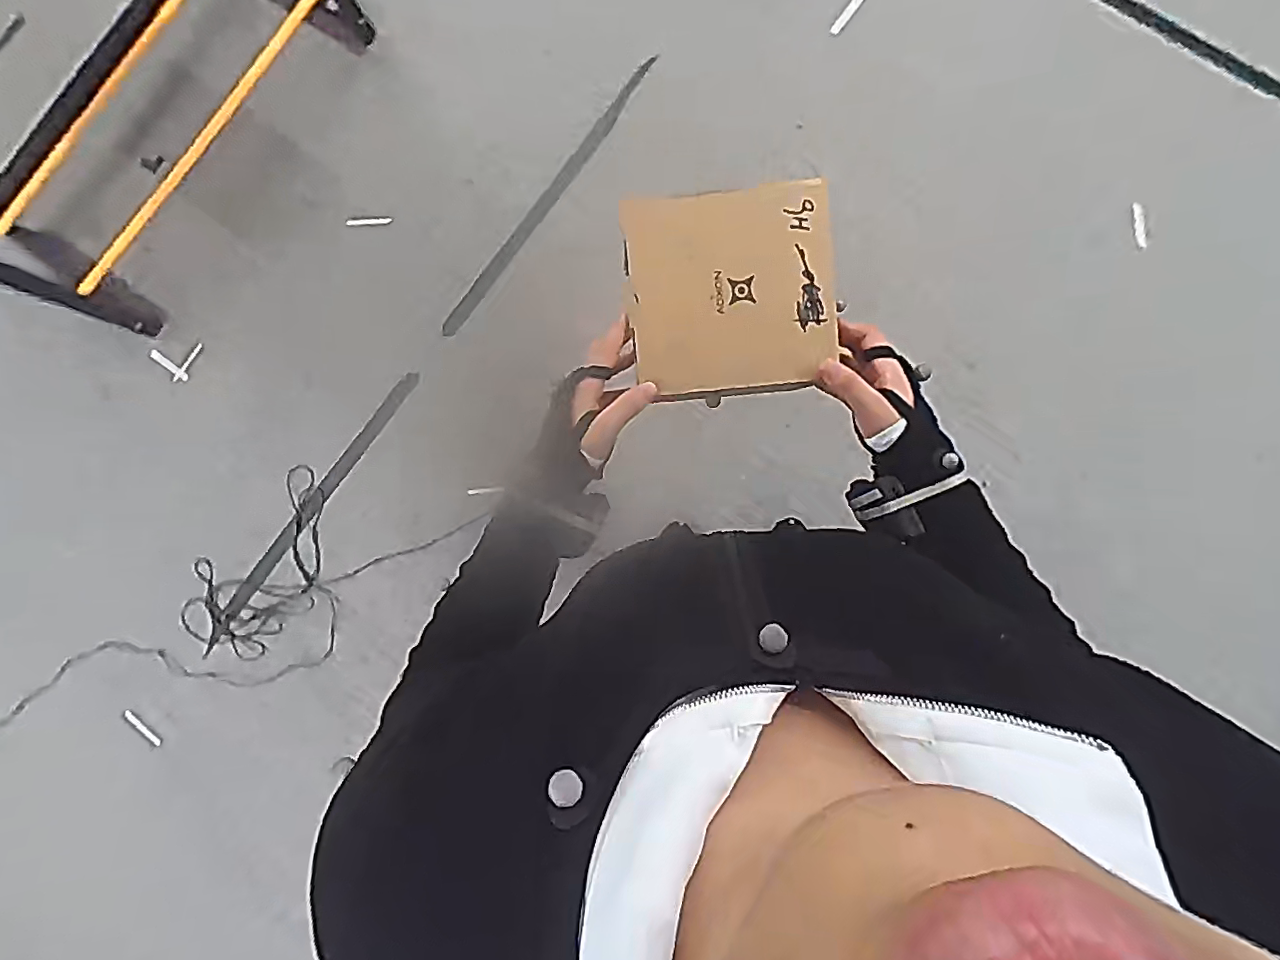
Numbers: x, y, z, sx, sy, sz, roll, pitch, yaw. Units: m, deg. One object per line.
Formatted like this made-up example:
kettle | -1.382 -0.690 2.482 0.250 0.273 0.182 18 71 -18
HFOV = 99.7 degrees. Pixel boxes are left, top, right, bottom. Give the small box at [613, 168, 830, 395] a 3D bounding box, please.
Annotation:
small box | 0.075 -0.178 0.541 0.179 0.176 0.168 -6 95 4

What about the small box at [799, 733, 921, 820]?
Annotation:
small box | 0.458 0.677 1.173 0.179 0.176 0.168 34 88 6
